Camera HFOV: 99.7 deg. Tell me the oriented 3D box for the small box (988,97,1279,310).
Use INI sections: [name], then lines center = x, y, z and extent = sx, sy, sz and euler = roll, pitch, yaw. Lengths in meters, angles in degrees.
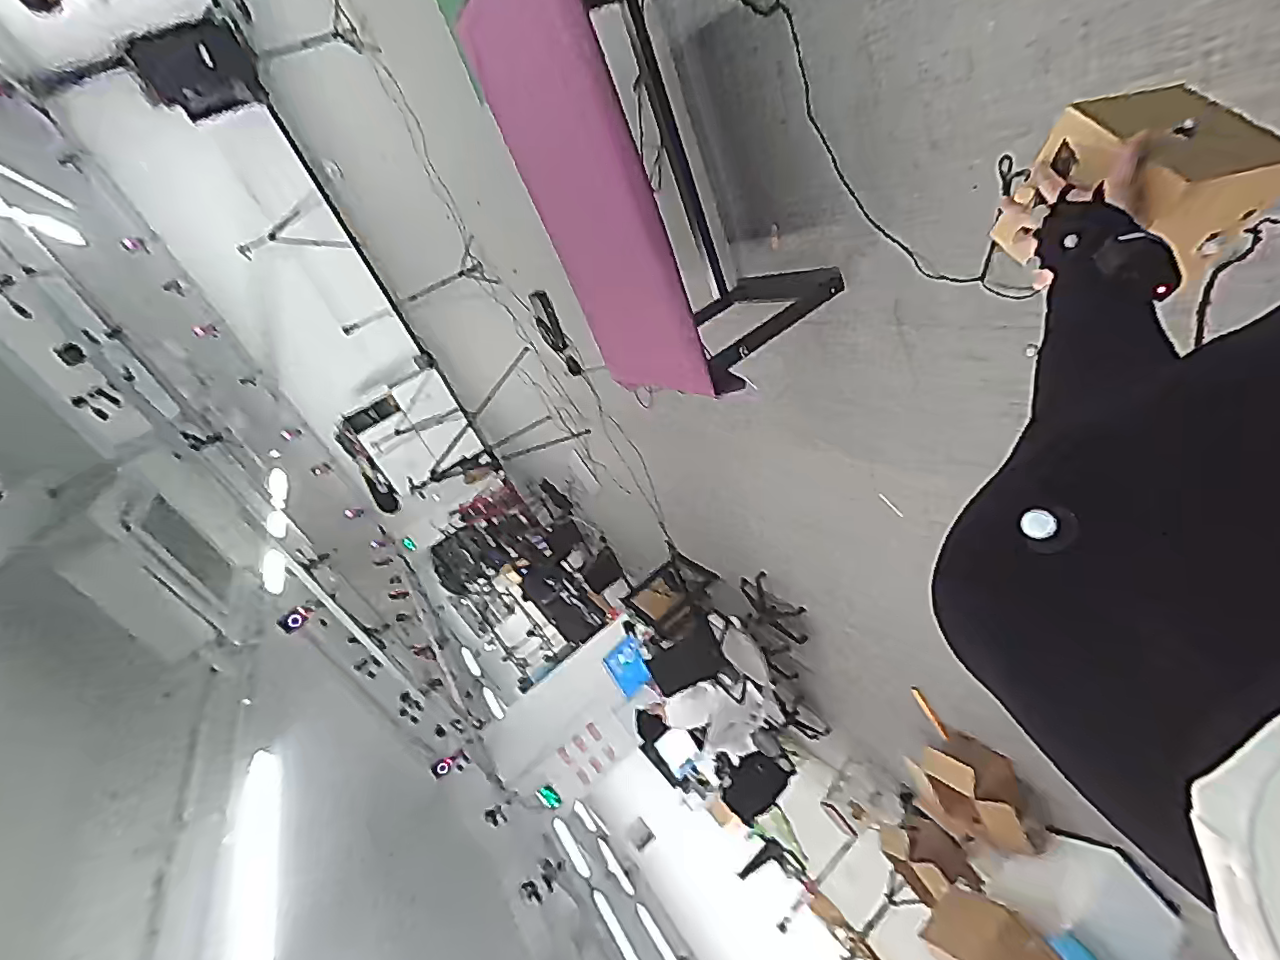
[small box]
center = 0.591, -0.341, 0.663
extent = 0.168, 0.176, 0.179
euler = 88, 164, -57
